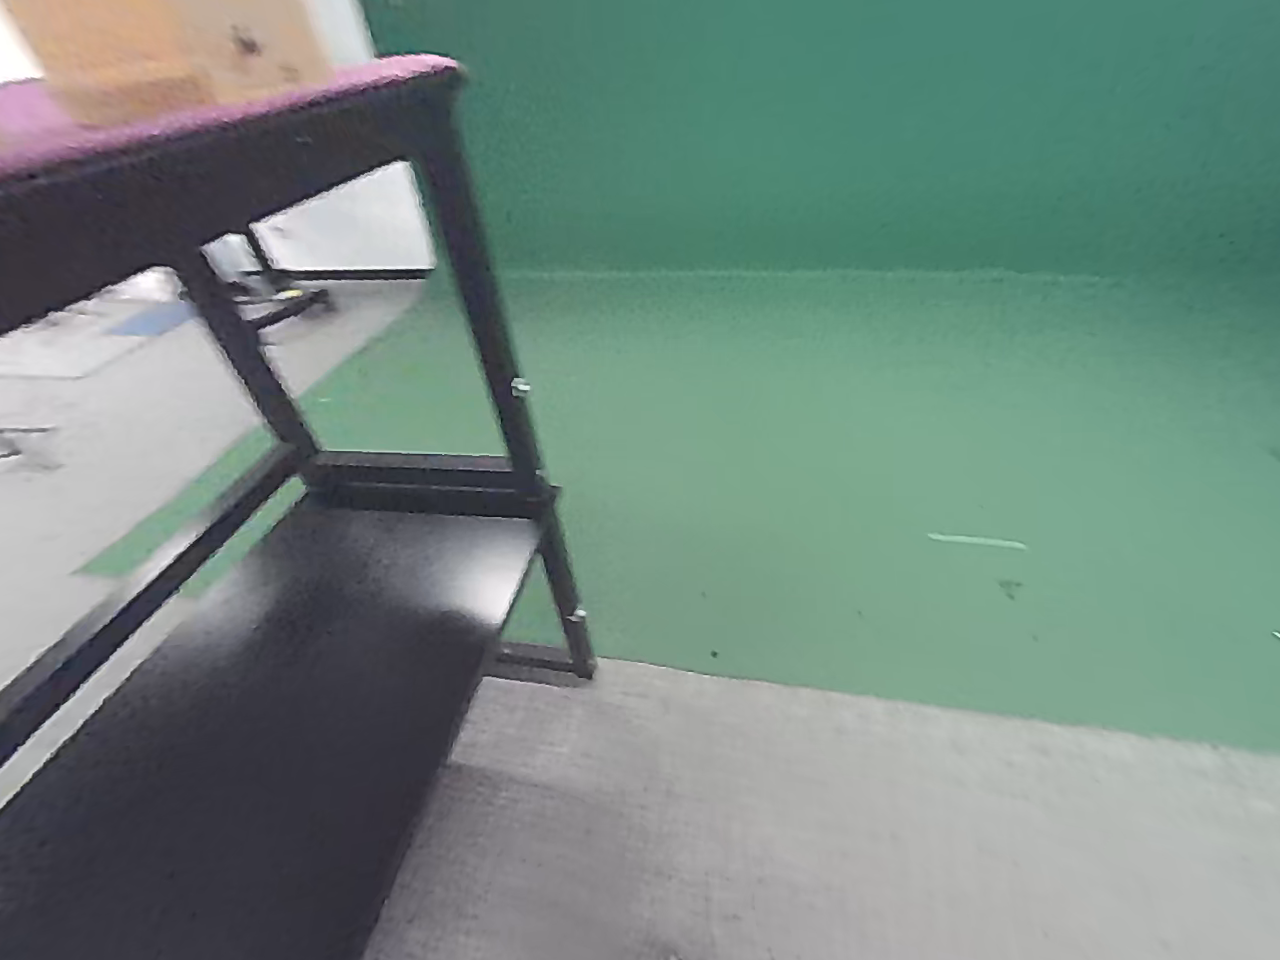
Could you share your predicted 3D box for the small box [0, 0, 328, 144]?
[{"bbox_3d":[-0.440,-0.421,0.496,0.179,0.176,0.168,6,43,11],"label":"small box"}]
